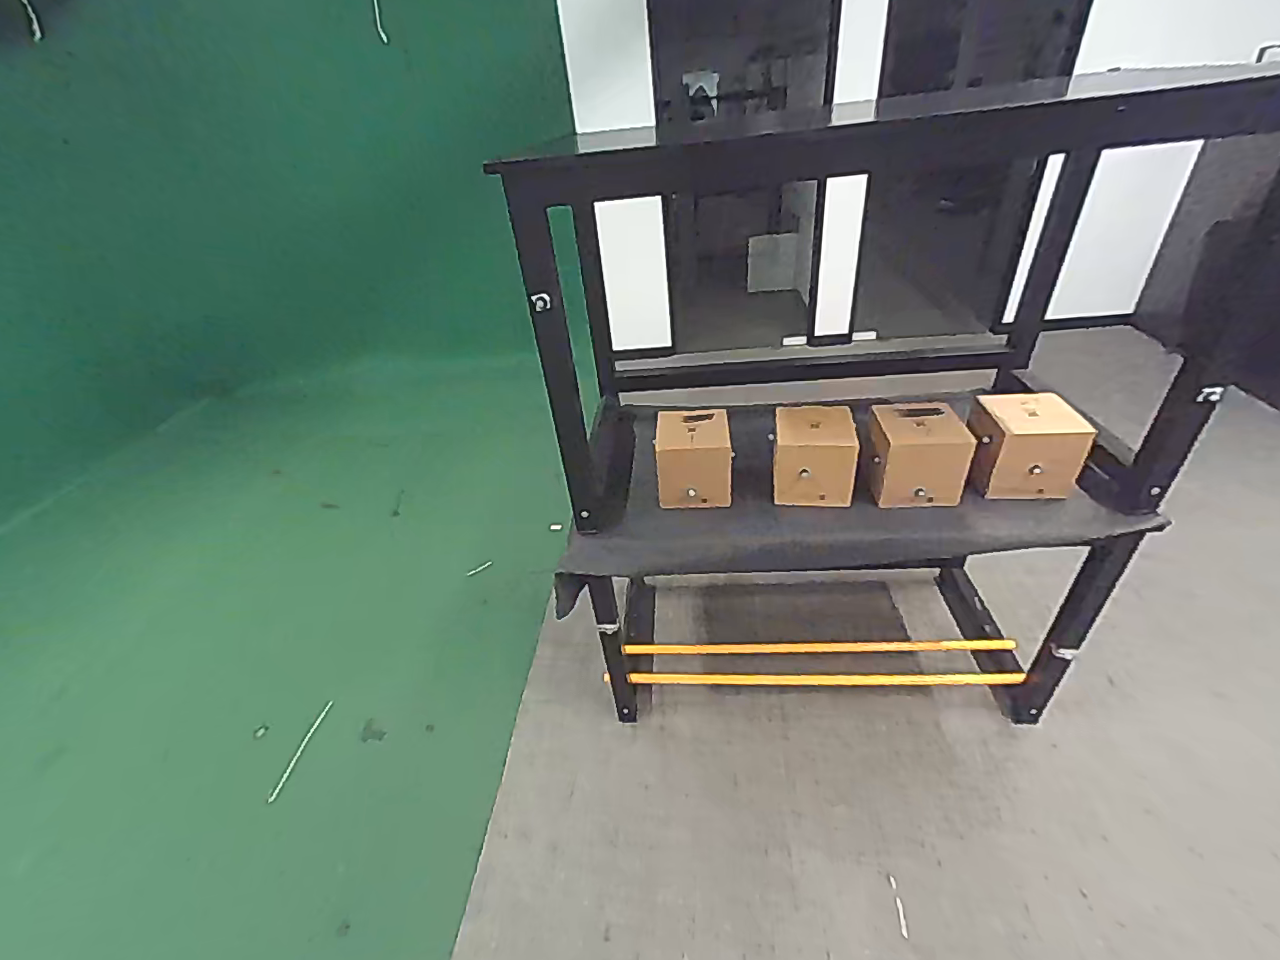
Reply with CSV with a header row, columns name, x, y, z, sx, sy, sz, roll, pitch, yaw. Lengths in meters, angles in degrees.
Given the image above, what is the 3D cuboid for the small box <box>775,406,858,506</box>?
name,x,y,z,sx,sy,sz,roll,pitch,yaw
small box,0.399,-0.055,1.245,0.168,0.176,0.179,1,35,12

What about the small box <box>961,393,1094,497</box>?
name,x,y,z,sx,sy,sz,roll,pitch,yaw
small box,0.837,-0.075,1.189,0.168,0.176,0.179,-1,35,9

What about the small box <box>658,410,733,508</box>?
name,x,y,z,sx,sy,sz,roll,pitch,yaw
small box,0.132,-0.050,1.283,0.168,0.176,0.179,-2,36,7
